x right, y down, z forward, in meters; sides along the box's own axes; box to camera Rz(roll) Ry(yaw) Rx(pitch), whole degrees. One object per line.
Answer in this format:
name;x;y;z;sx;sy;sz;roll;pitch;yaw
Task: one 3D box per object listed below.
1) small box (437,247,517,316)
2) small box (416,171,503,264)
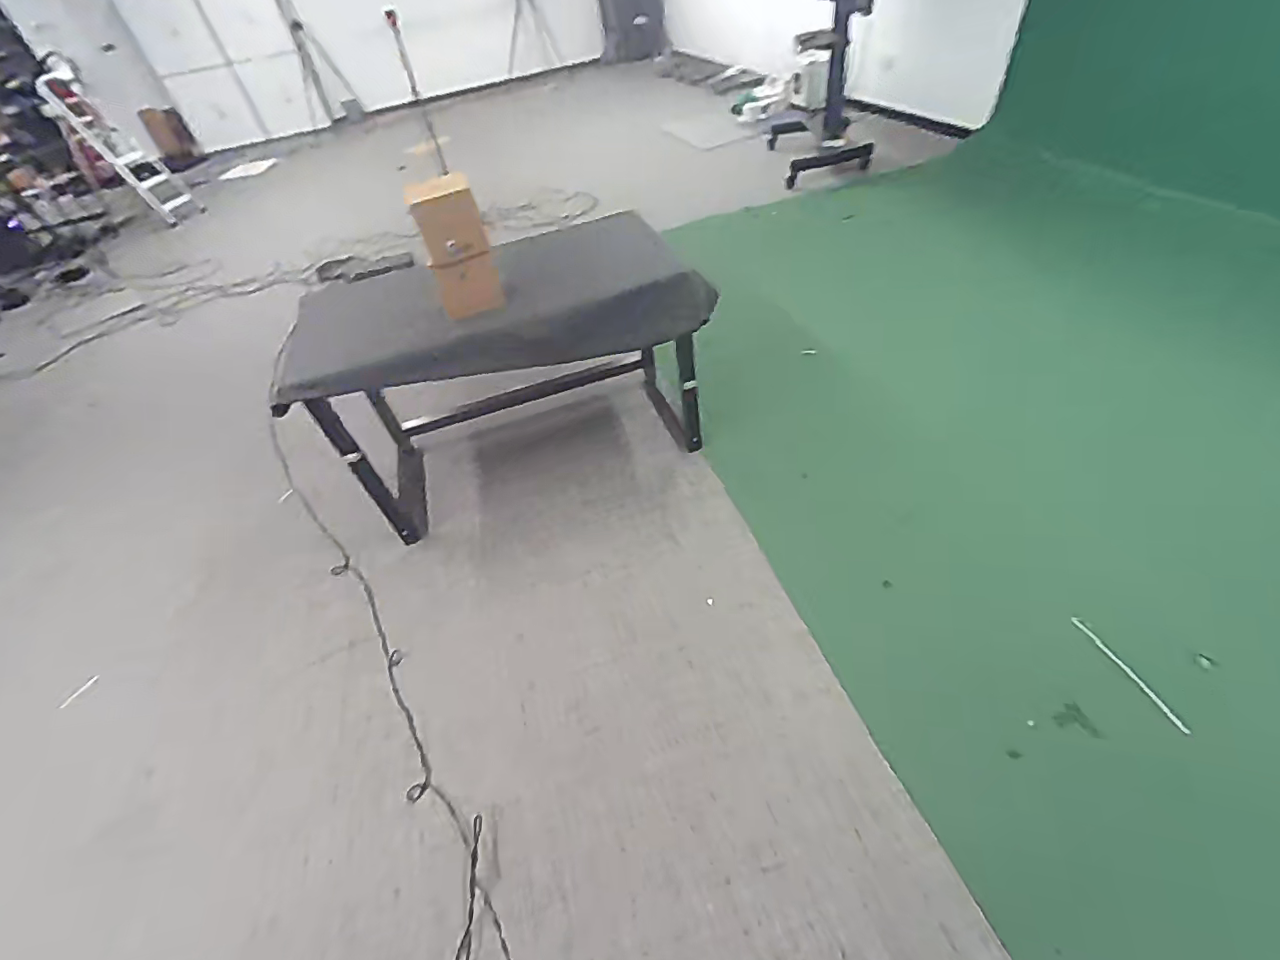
small box;-0.483;-0.609;1.606;0.179;0.176;0.168;-18;45;-7
small box;-0.497;-0.721;1.490;0.168;0.176;0.179;-23;47;-9
